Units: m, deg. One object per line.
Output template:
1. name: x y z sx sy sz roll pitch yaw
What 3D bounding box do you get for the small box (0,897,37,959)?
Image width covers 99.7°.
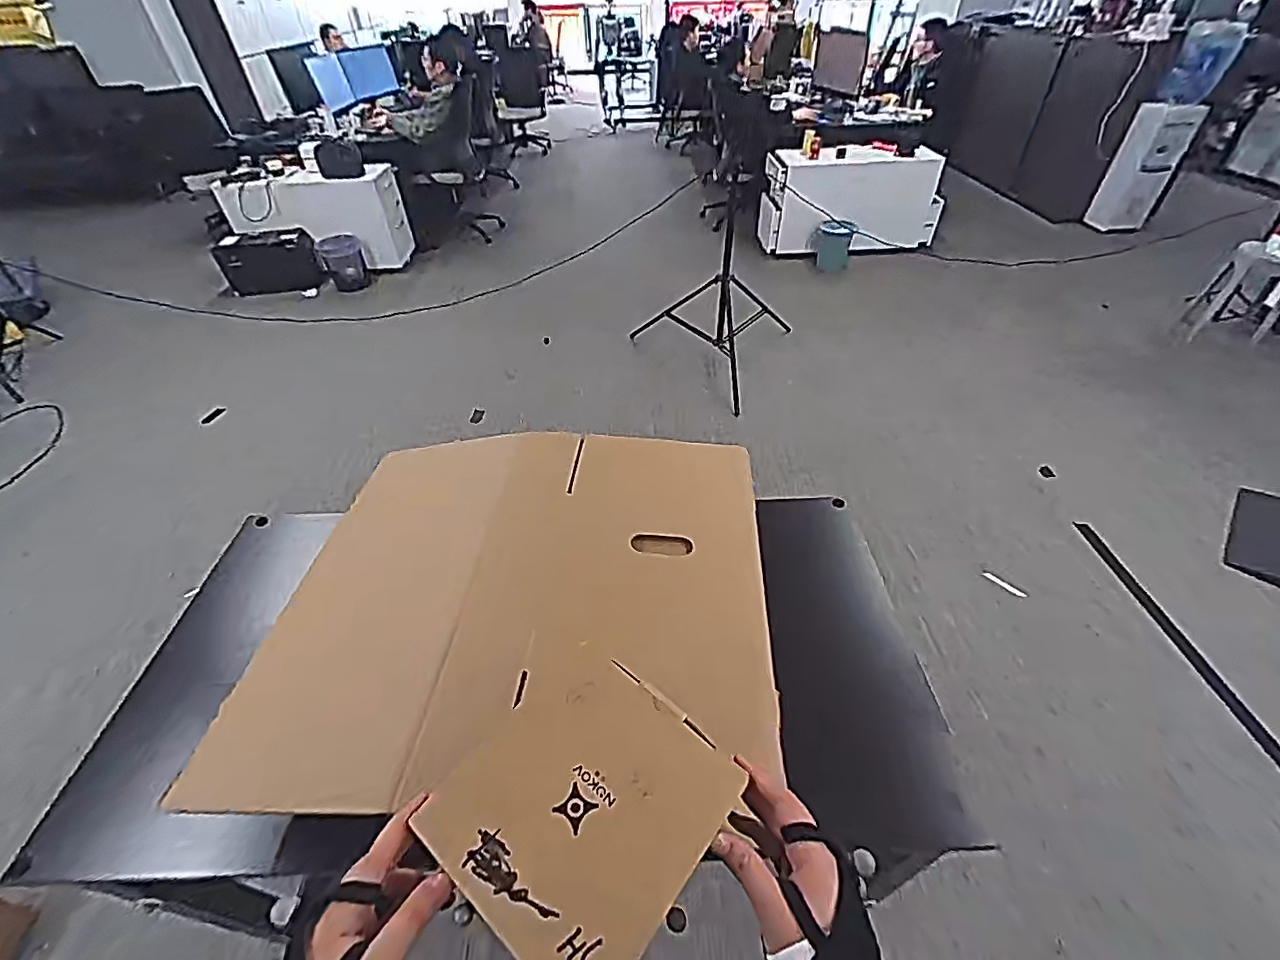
1. small box: -1.416 0.977 1.102 0.168 0.176 0.179 -5 43 -3
